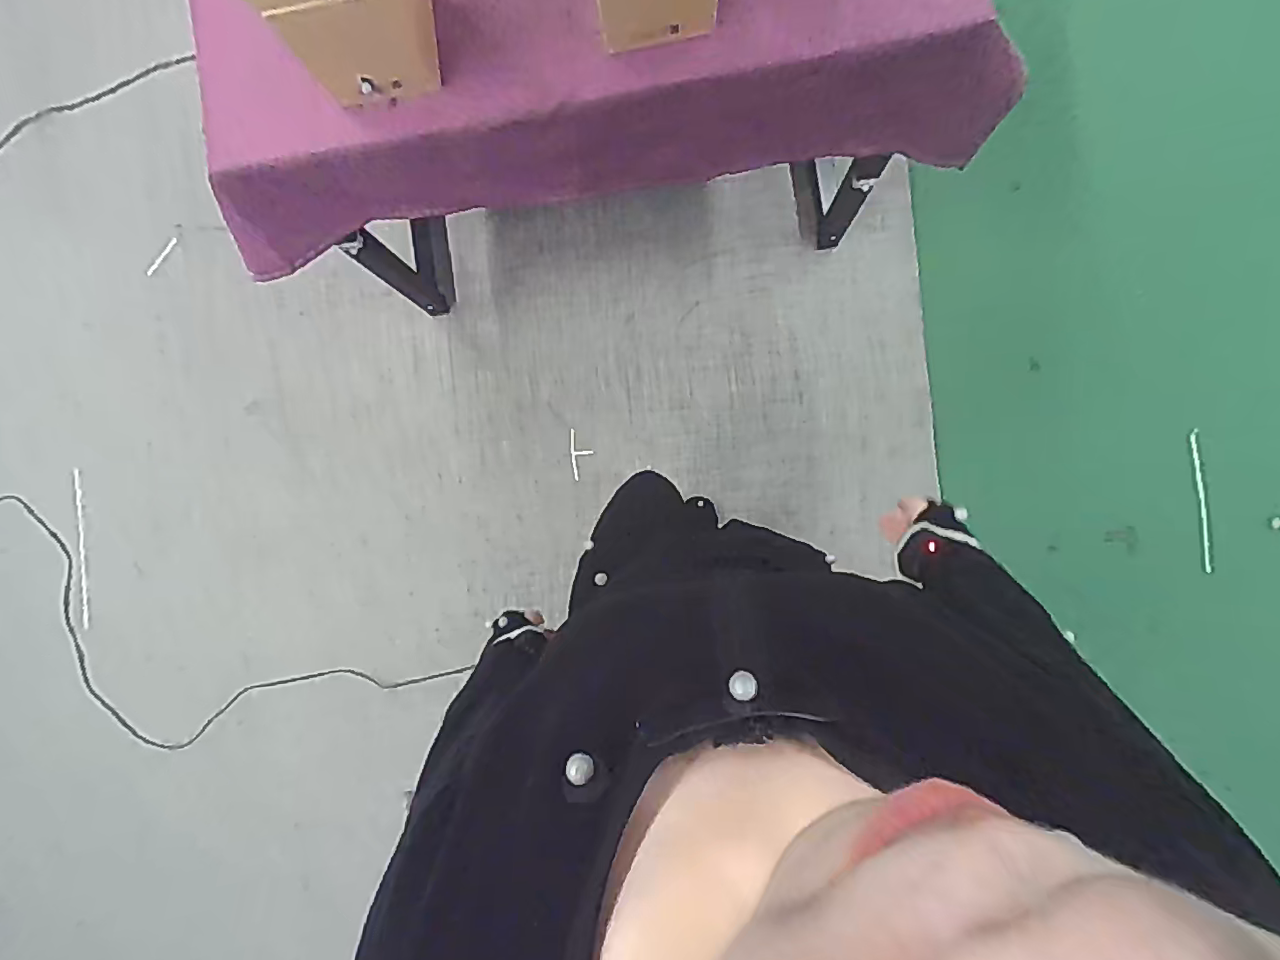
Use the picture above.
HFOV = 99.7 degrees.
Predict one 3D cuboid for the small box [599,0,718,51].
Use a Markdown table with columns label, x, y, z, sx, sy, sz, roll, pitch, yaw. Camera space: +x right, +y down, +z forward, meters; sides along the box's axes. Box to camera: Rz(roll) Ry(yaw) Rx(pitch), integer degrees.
| label | x | y | z | sx | sy | sz | roll | pitch | yaw |
| --- | --- | --- | --- | --- | --- | --- | --- | --- | --- |
| small box | 0.015 | -0.741 | 0.731 | 0.168 | 0.176 | 0.179 | -8 | 87 | 5 |

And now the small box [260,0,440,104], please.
| label | x | y | z | sx | sy | sz | roll | pitch | yaw |
| --- | --- | --- | --- | --- | --- | --- | --- | --- | --- |
| small box | -0.400 | -0.679 | 0.760 | 0.168 | 0.176 | 0.179 | -7 | 88 | 4 |

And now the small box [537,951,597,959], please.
| label | x | y | z | sx | sy | sz | roll | pitch | yaw |
| --- | --- | --- | --- | --- | --- | --- | --- | --- | --- |
| small box | -0.194 | 1.341 | 1.365 | 0.168 | 0.176 | 0.179 | -3 | 88 | 4 |
